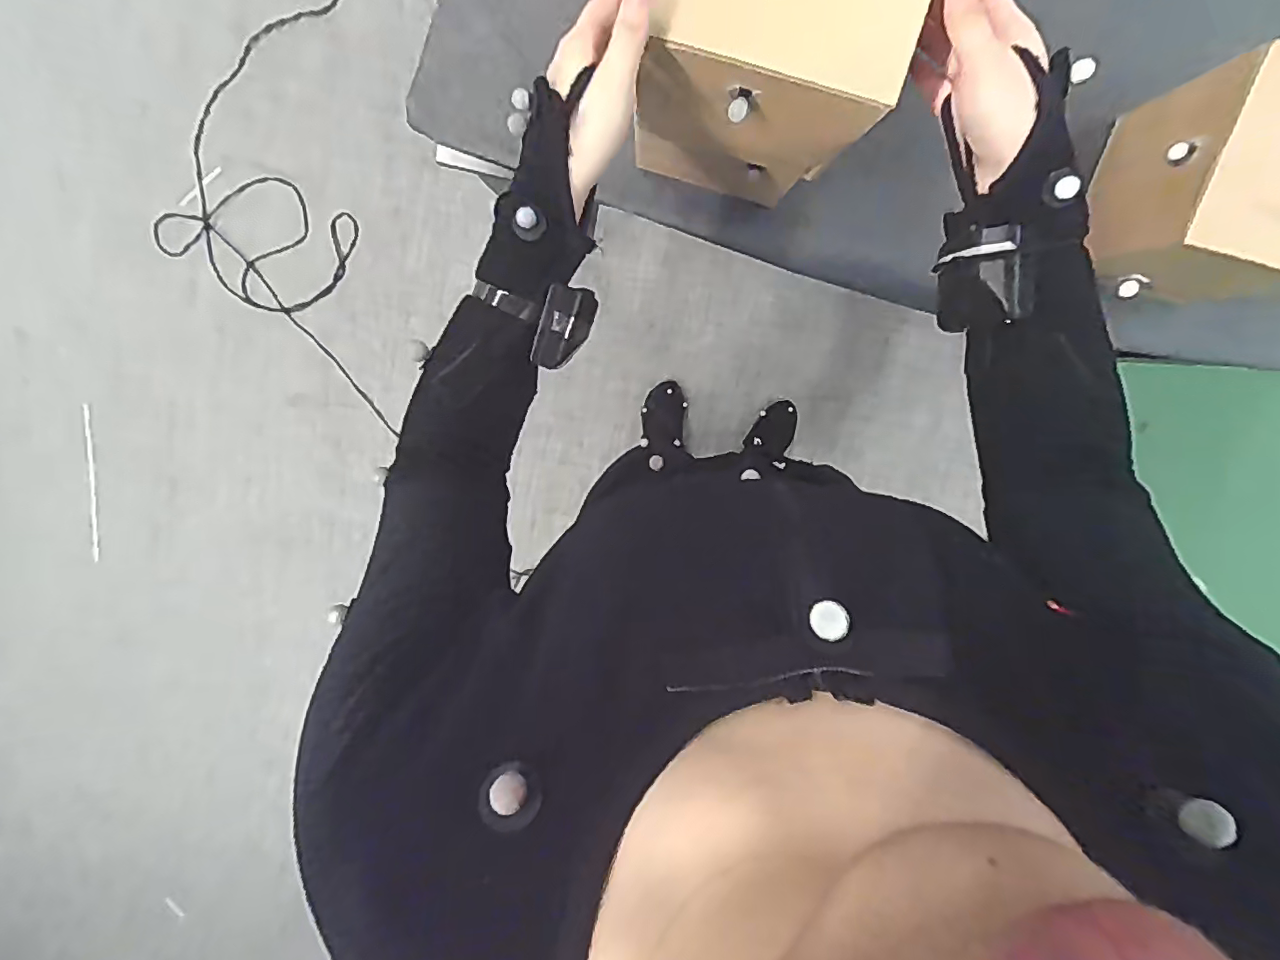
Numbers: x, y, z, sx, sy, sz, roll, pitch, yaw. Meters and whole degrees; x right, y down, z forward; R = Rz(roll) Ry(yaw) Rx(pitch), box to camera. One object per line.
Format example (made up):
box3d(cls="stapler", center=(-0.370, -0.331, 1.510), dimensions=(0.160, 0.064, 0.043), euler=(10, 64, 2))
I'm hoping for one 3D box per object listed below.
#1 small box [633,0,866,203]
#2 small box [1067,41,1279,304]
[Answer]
box3d(cls="small box", center=(0.100, -0.407, 0.559), dimensions=(0.179, 0.176, 0.168), euler=(15, 104, -2))
box3d(cls="small box", center=(0.610, -0.300, 0.570), dimensions=(0.168, 0.176, 0.179), euler=(14, 102, -1))
